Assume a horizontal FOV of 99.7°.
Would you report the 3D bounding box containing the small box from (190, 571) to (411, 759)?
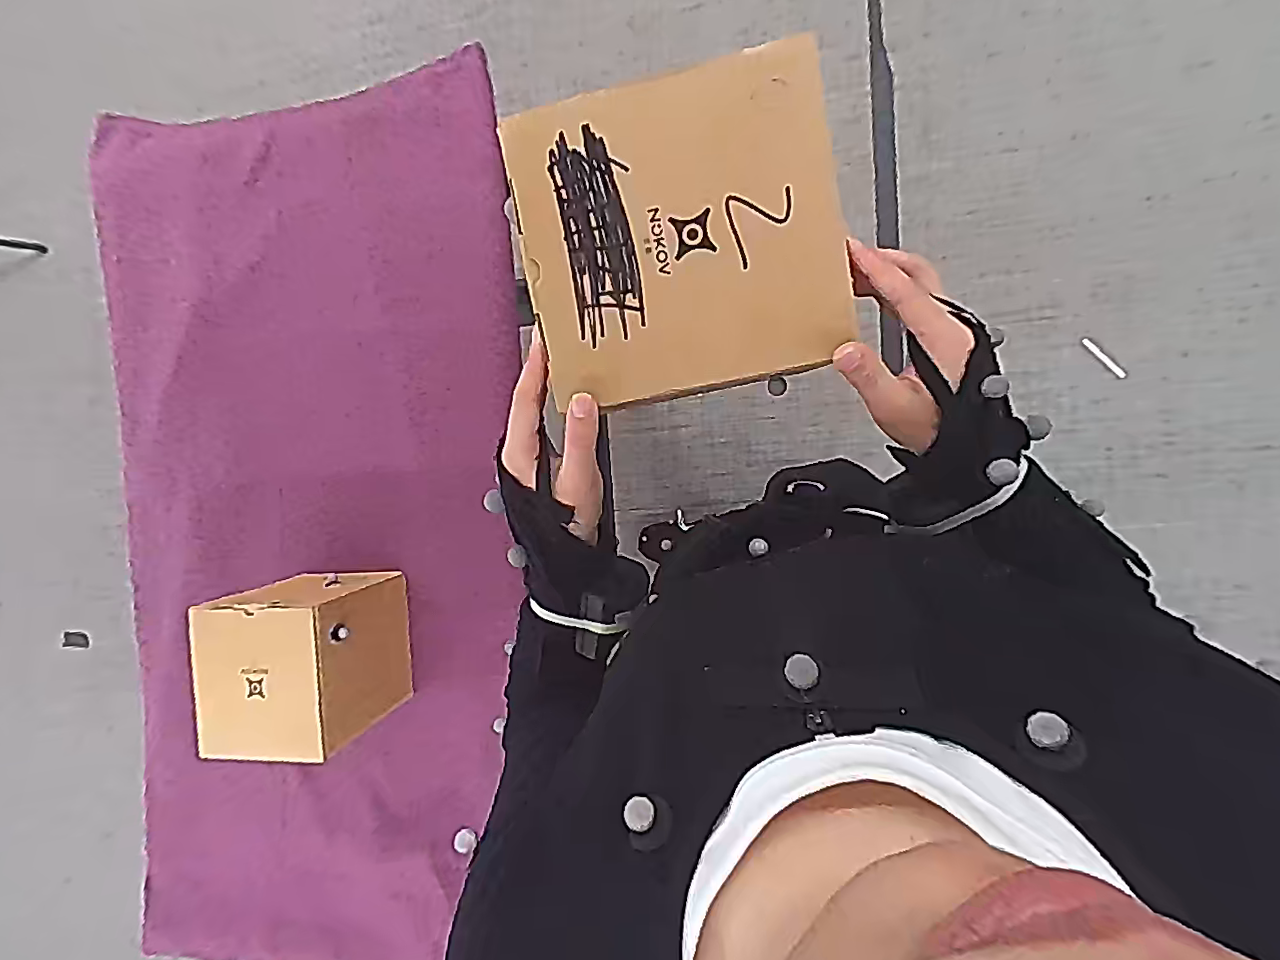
[{"bbox_3d":[-0.409,0.218,0.677,0.168,0.176,0.179,-4,91,10],"label":"small box"}]
